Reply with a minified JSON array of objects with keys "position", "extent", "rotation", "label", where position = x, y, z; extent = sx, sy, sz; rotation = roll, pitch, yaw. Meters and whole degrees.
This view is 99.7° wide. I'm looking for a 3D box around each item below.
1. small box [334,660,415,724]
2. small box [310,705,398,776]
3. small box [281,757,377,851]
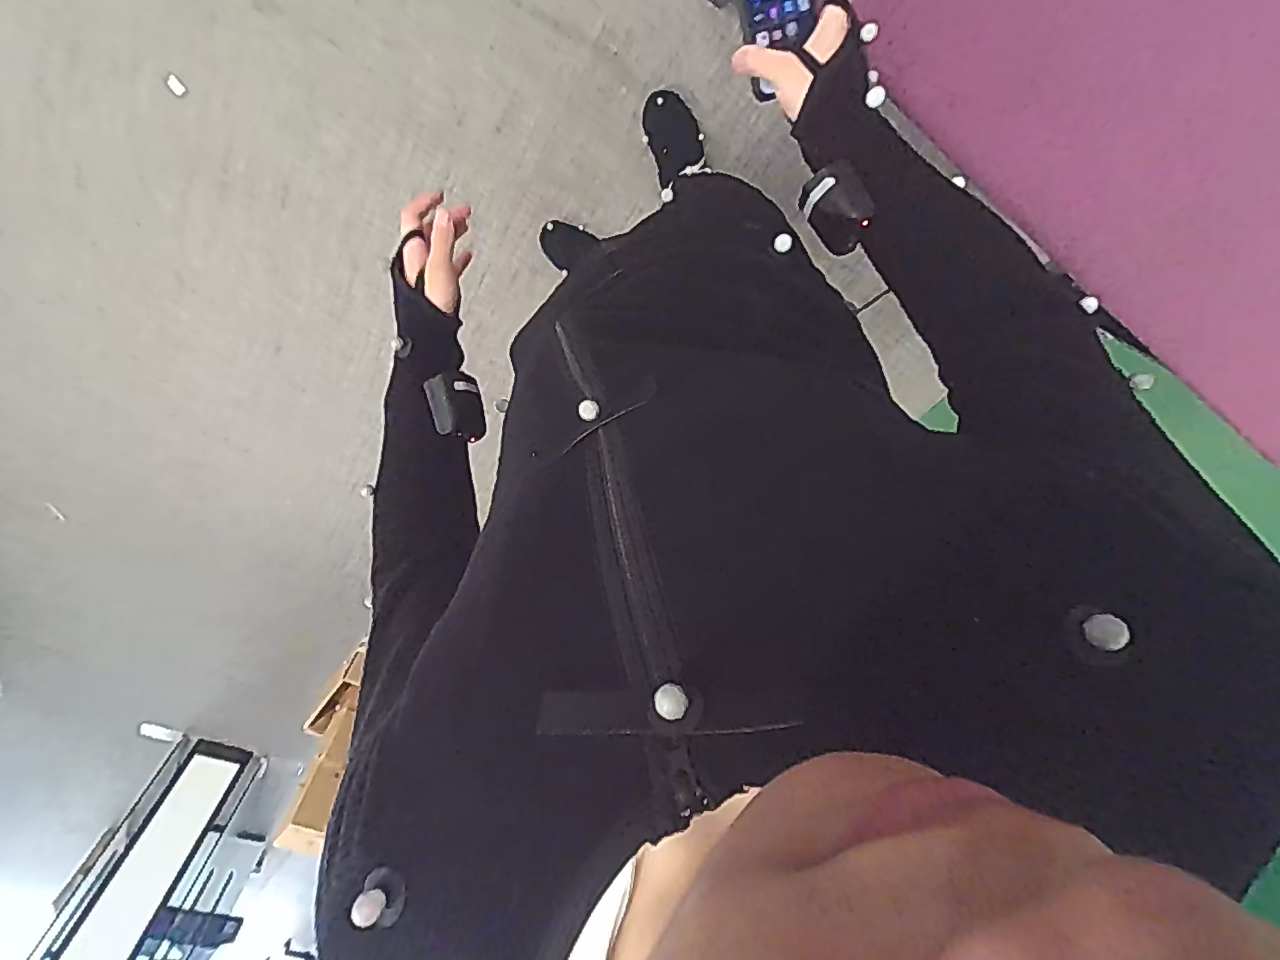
[{"position":[-0.898,0.750,1.845],"extent":[0.168,0.176,0.179],"rotation":[33,120,-20],"label":"small box"},{"position":[-0.895,0.845,1.710],"extent":[0.168,0.176,0.179],"rotation":[34,120,-21],"label":"small box"},{"position":[-0.902,0.945,1.580],"extent":[0.168,0.176,0.179],"rotation":[31,121,-20],"label":"small box"}]
